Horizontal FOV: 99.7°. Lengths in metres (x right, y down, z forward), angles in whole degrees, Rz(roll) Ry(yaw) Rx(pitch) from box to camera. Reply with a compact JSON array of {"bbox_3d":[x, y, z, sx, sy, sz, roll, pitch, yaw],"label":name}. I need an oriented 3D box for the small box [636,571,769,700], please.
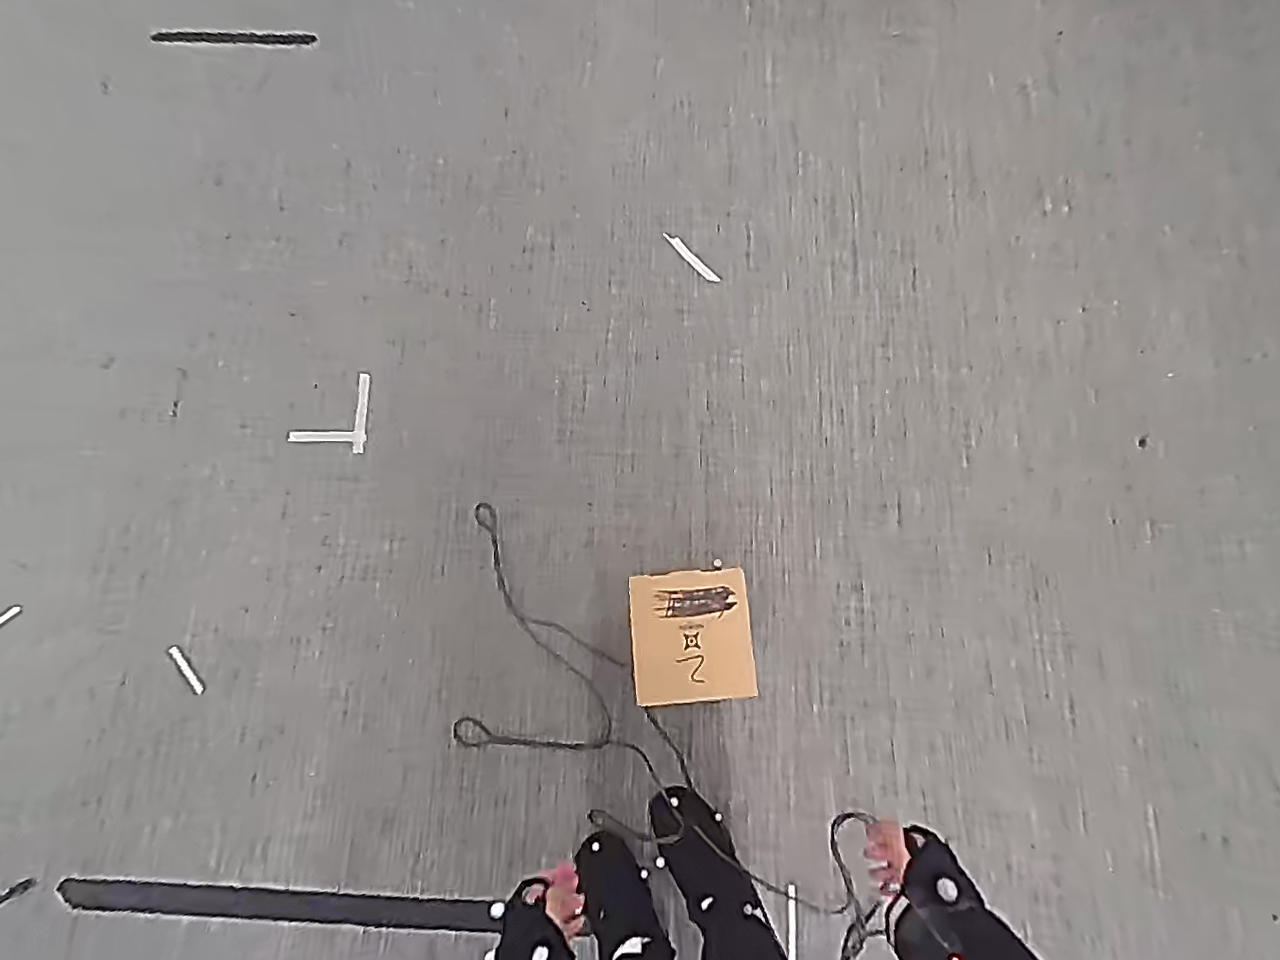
[{"bbox_3d":[0.102,0.269,0.933,0.168,0.176,0.179,4,60,-18],"label":"small box"}]
